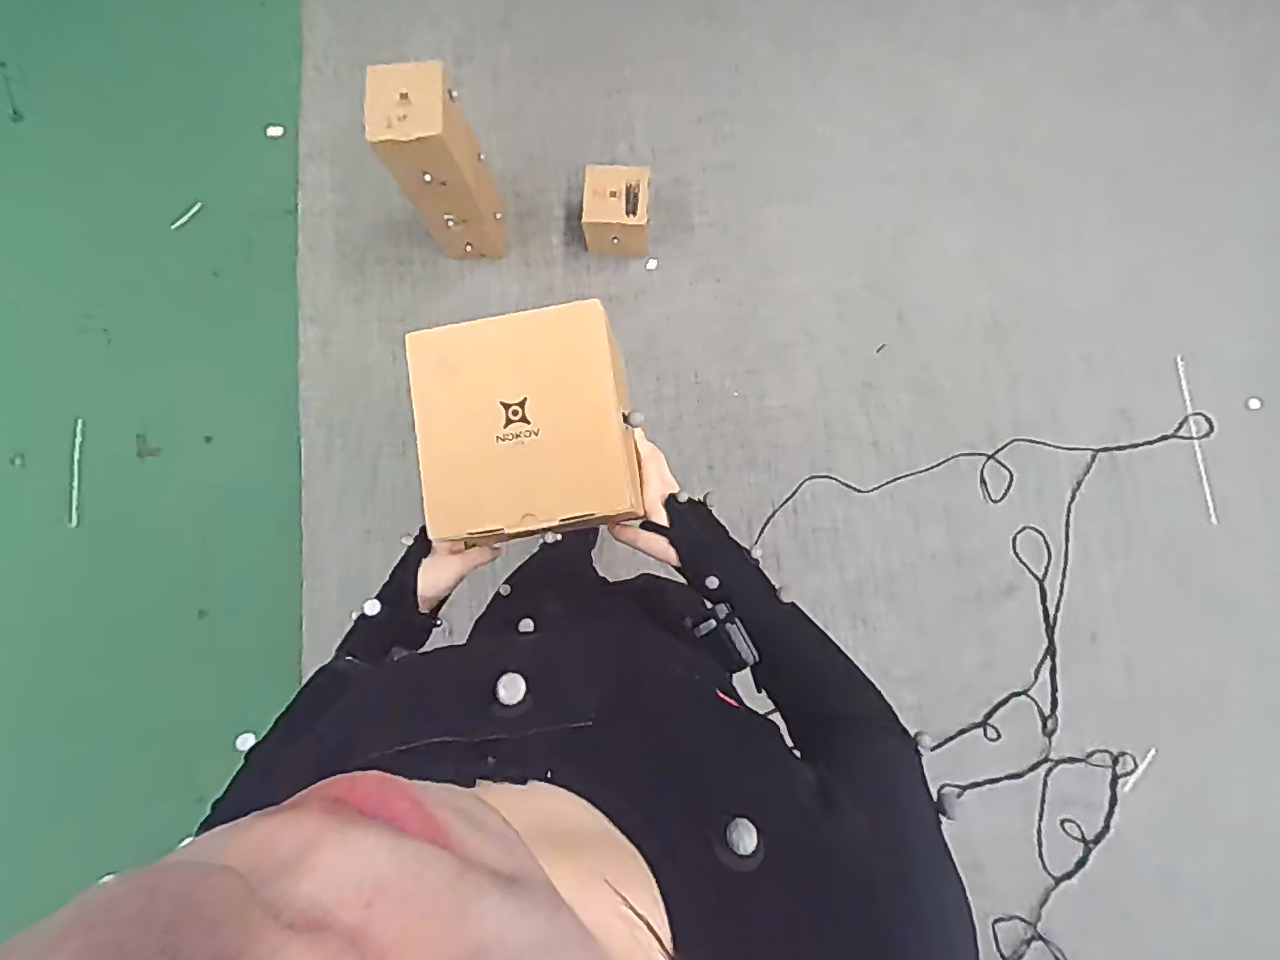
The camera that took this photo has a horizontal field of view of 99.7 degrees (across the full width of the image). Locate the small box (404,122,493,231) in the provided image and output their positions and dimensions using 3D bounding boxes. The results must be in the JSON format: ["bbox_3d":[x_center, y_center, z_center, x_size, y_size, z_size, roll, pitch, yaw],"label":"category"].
[{"bbox_3d":[-0.479,-0.761,1.368,0.168,0.176,0.179,-4,85,2],"label":"small box"}]

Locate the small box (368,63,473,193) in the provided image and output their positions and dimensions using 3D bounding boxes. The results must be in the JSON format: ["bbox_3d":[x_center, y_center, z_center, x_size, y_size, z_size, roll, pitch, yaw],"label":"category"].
[{"bbox_3d":[-0.482,-0.776,1.204,0.168,0.176,0.179,-3,83,3],"label":"small box"}]

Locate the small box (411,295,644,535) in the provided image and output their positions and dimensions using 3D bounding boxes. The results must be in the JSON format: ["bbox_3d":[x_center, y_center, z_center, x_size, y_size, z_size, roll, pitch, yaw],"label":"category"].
[{"bbox_3d":[-0.091,-0.045,0.506,0.168,0.176,0.179,-9,84,3],"label":"small box"}]

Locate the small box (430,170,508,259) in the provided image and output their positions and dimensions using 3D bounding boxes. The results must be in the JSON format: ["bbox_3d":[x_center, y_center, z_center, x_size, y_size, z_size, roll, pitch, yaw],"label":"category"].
[{"bbox_3d":[-0.478,-0.745,1.530,0.168,0.176,0.179,0,84,2],"label":"small box"}]
